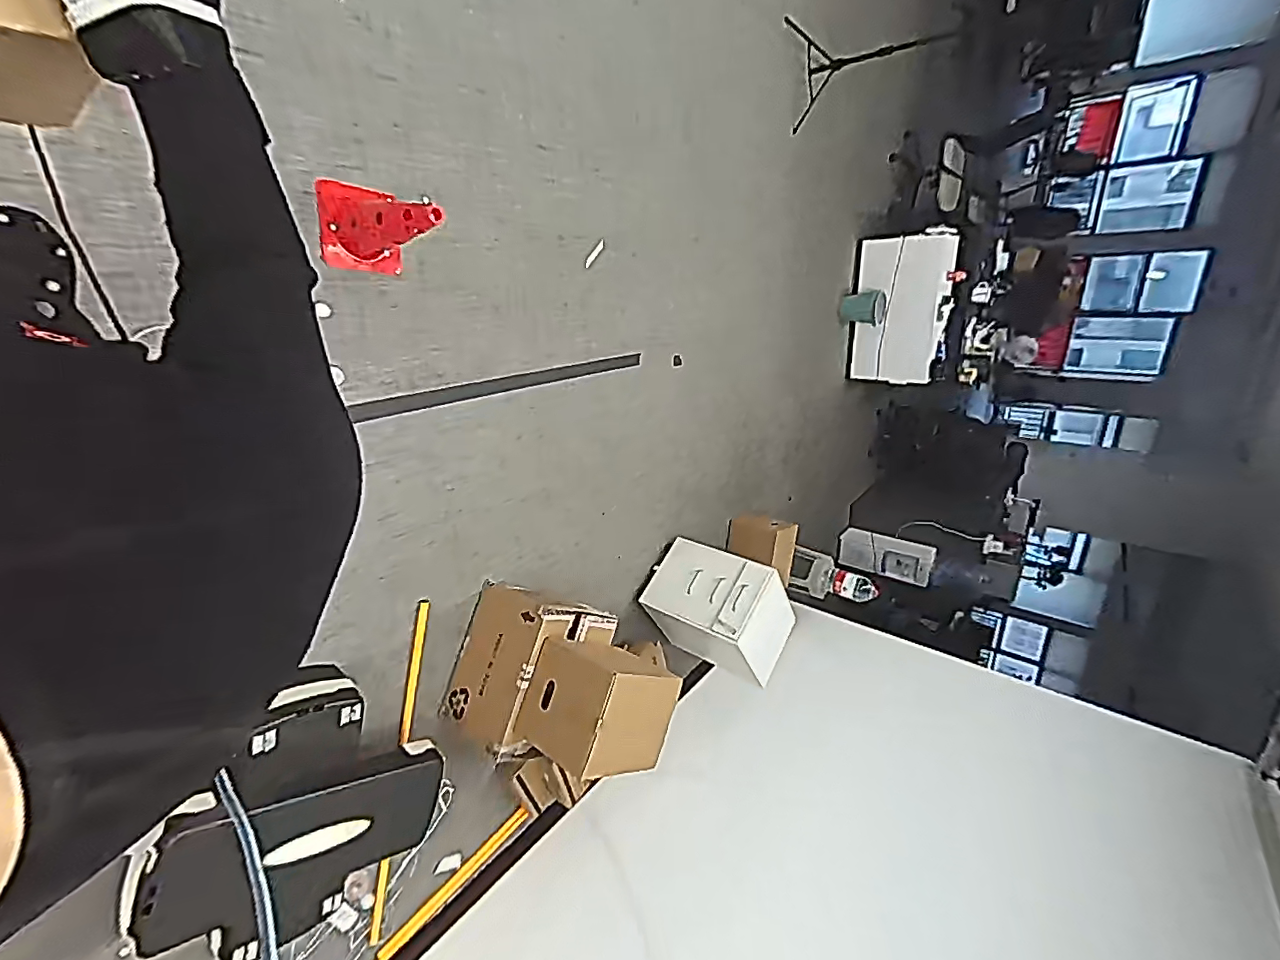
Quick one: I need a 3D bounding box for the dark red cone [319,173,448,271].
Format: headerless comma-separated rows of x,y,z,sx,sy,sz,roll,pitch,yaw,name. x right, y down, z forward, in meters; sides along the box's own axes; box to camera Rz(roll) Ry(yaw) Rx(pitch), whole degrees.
-0.567,-0.607,1.256,0.201,0.394,0.202,-15,113,-48,dark red cone

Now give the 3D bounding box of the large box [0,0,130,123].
-0.579,-0.395,0.247,0.408,0.320,0.320,-26,123,-45,large box
